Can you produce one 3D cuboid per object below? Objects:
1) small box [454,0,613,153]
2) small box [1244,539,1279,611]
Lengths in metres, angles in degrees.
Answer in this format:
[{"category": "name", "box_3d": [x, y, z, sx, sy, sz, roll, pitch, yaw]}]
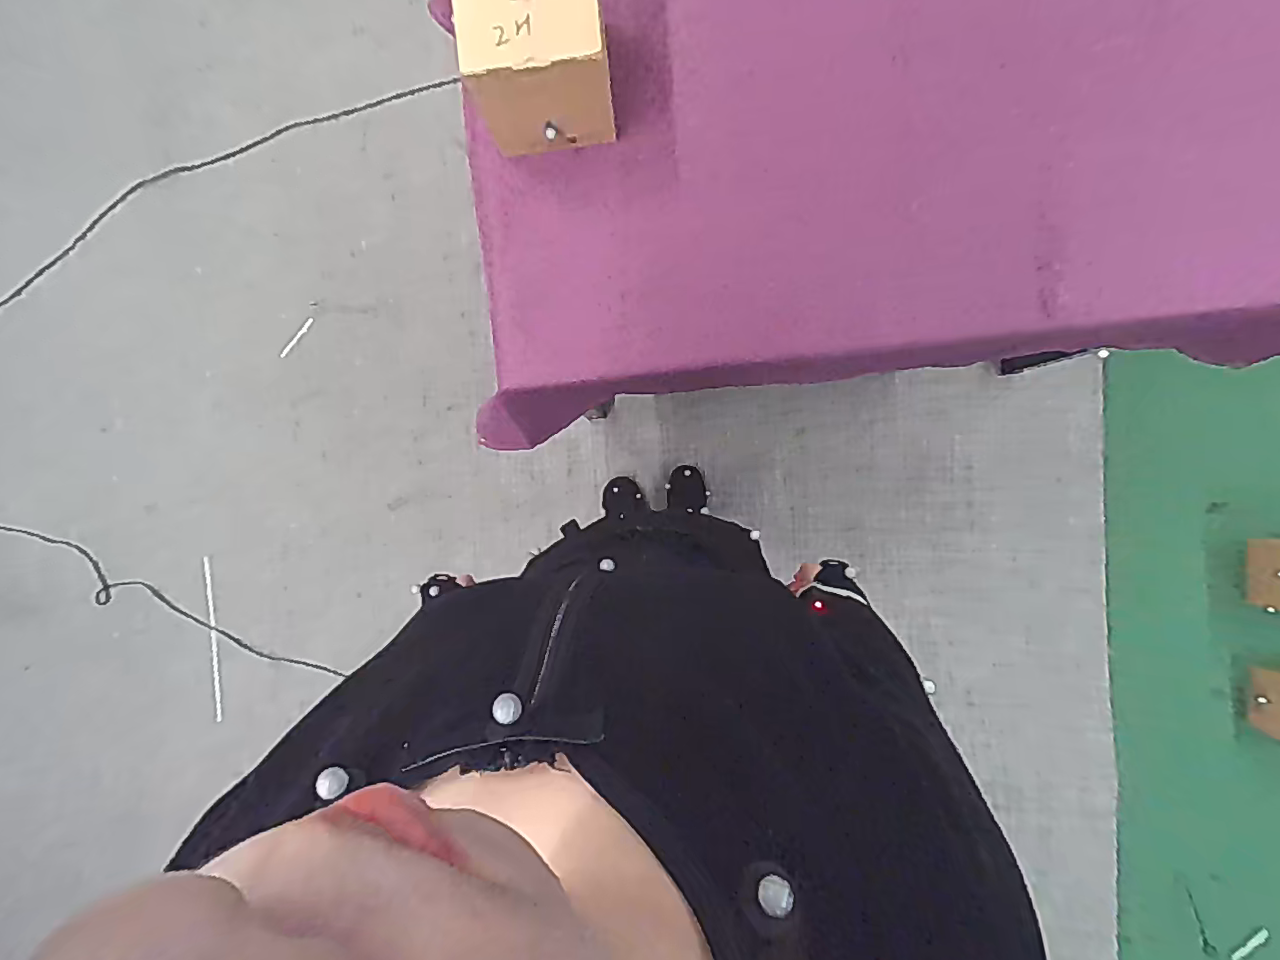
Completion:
[{"category": "small box", "box_3d": [-0.128, -0.558, 0.689, 0.168, 0.176, 0.179, -5, 92, 3]}, {"category": "small box", "box_3d": [1.673, 0.244, 1.344, 0.168, 0.176, 0.179, -1, 90, 3]}]
